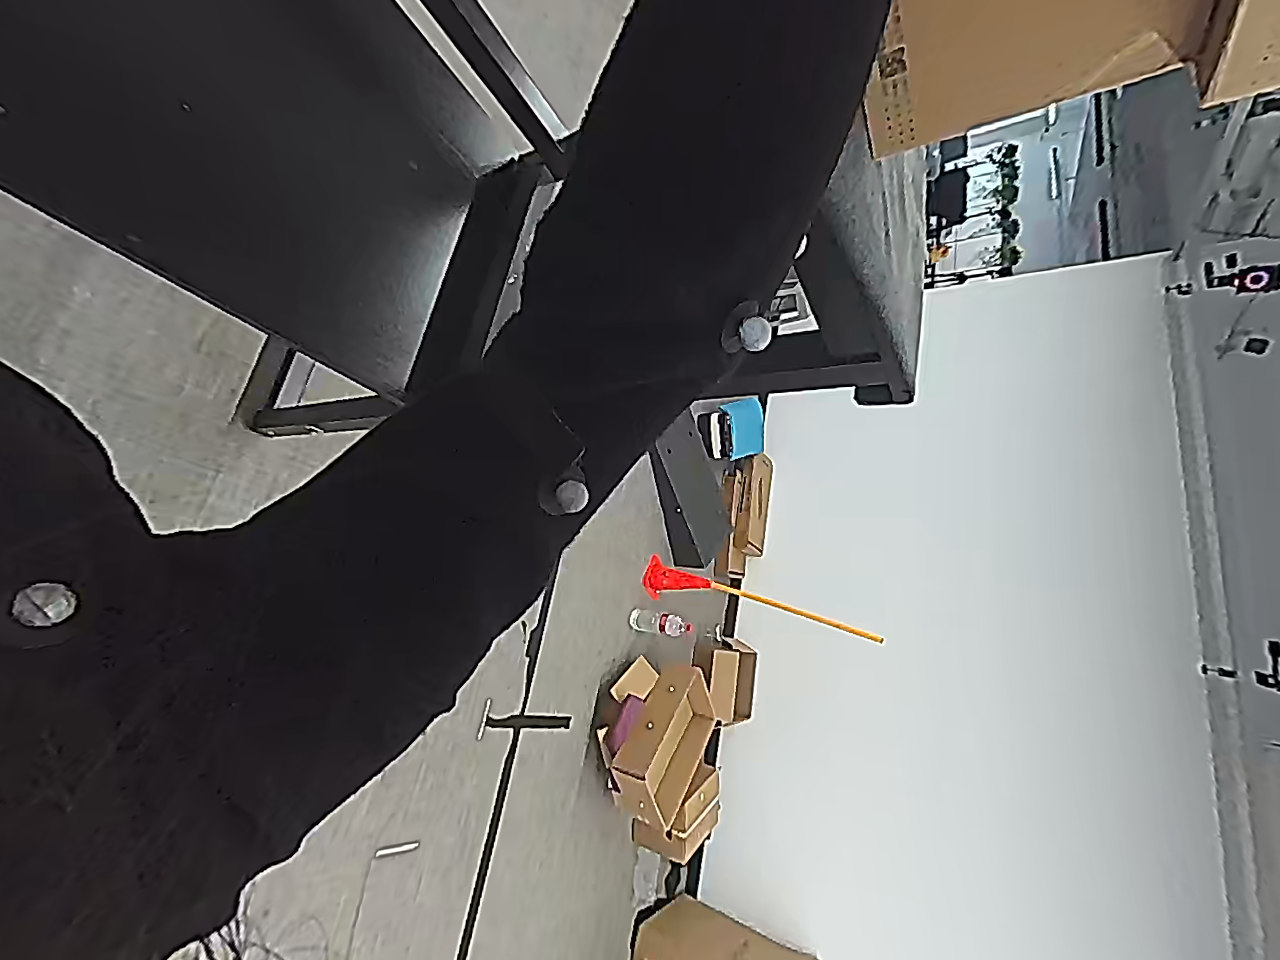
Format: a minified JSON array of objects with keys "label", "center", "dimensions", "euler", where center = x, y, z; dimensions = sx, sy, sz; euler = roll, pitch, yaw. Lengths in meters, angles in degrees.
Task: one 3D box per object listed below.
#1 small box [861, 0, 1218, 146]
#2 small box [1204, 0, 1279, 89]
[{"label":"small box","center":[0.218,-0.337,0.307],"dimensions":[0.168,0.176,0.179],"euler":[41,54,-50]},{"label":"small box","center":[0.350,-0.309,0.212],"dimensions":[0.168,0.176,0.179],"euler":[33,61,-54]}]
